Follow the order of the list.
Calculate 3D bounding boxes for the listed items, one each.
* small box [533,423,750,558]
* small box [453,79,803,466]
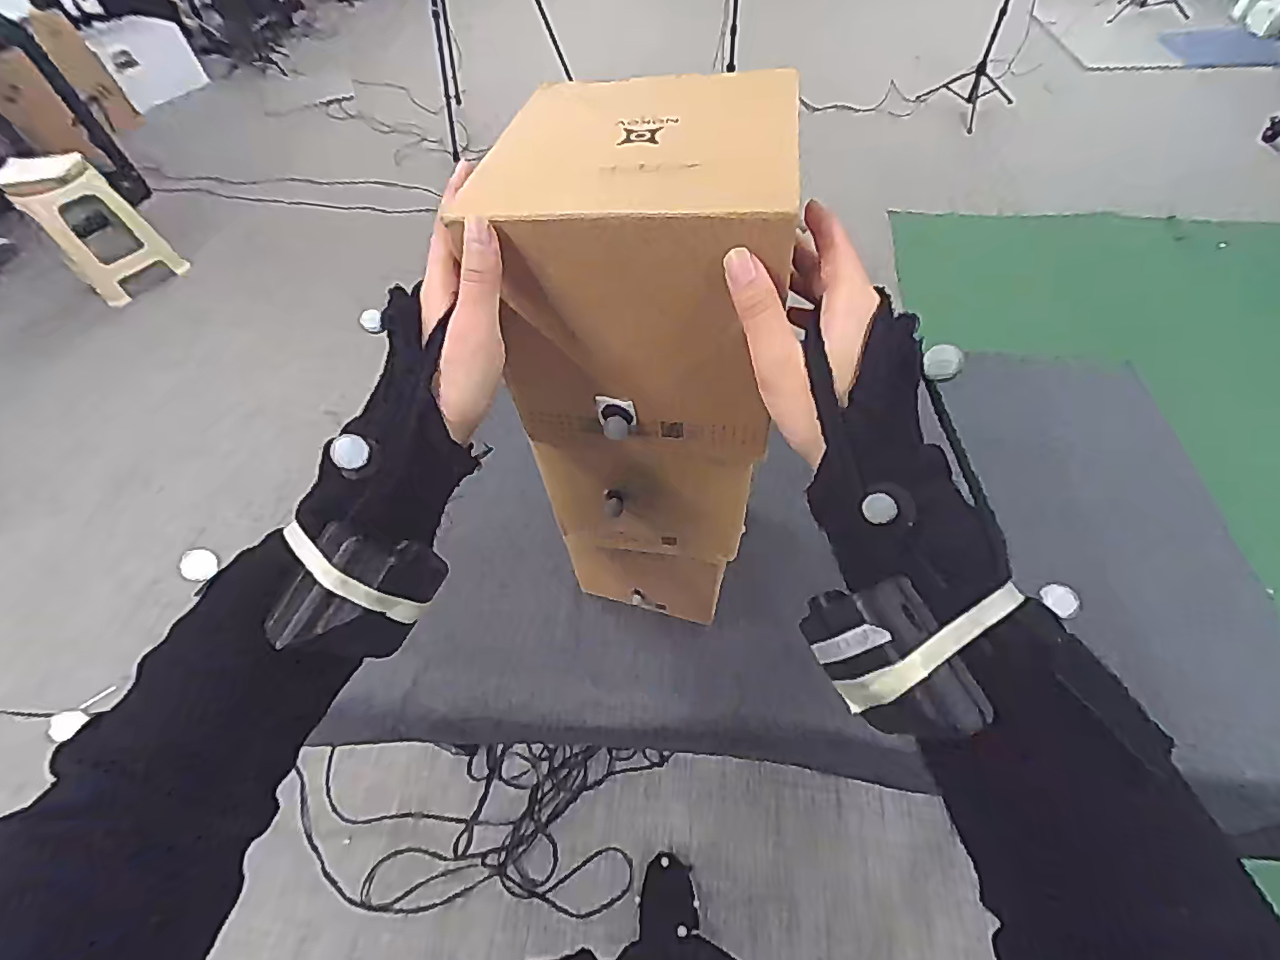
[{"bbox_3d":[0.017,-0.044,0.498,0.168,0.176,0.179,5,55,7],"label":"small box"},{"bbox_3d":[0.010,-0.133,0.355,0.168,0.176,0.179,4,54,10],"label":"small box"}]
